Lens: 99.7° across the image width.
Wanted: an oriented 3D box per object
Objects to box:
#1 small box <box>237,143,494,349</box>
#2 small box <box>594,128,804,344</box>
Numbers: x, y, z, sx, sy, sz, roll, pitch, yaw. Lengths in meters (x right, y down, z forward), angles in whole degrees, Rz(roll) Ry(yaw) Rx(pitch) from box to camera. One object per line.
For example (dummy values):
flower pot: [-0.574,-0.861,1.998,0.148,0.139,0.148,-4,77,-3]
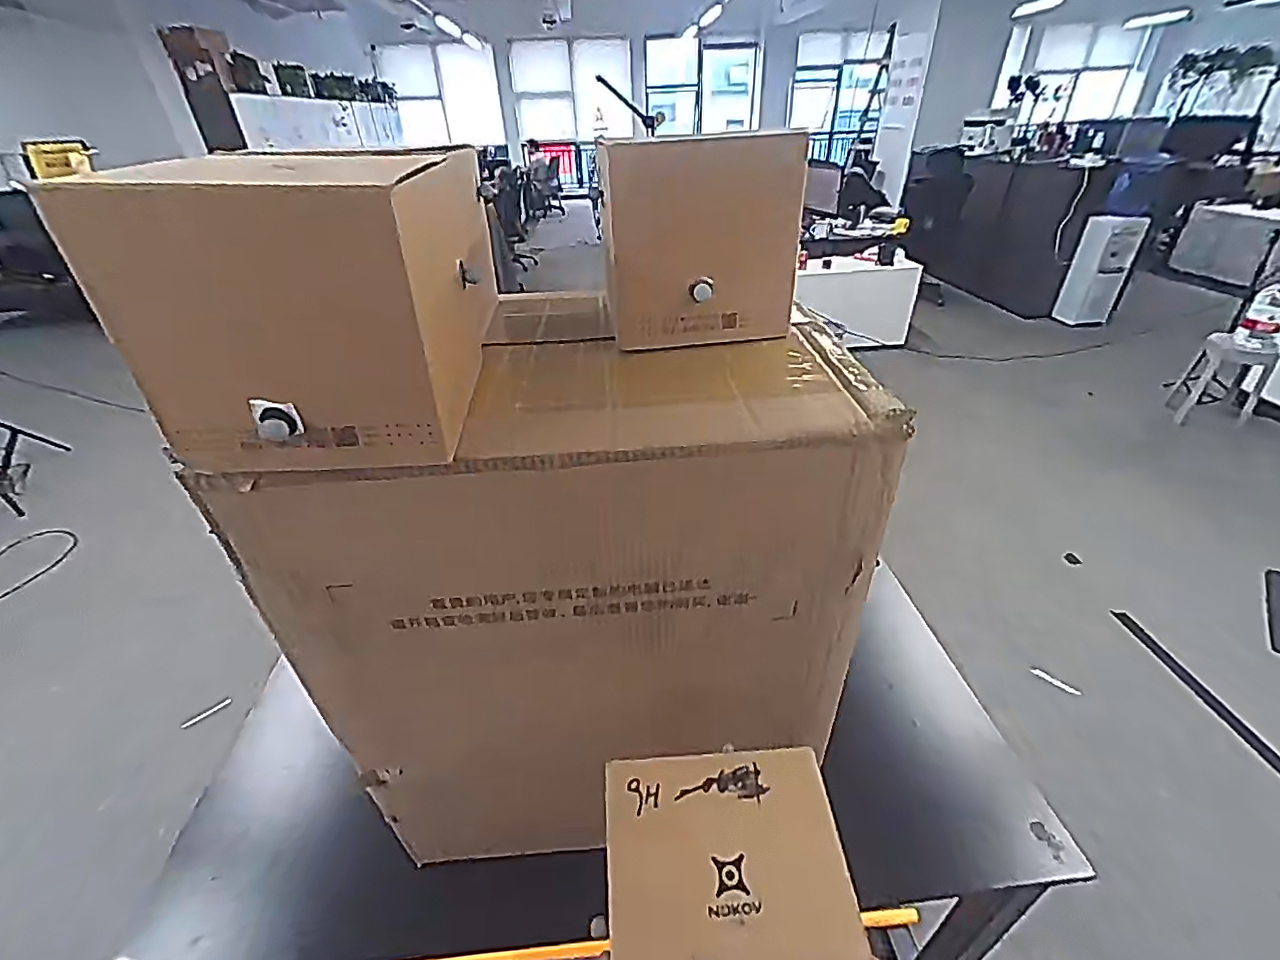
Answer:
small box: [-0.250,-0.240,0.548,0.168,0.176,0.179,-5,32,-5]
small box: [0.045,-0.244,0.536,0.168,0.176,0.179,-7,33,-4]
